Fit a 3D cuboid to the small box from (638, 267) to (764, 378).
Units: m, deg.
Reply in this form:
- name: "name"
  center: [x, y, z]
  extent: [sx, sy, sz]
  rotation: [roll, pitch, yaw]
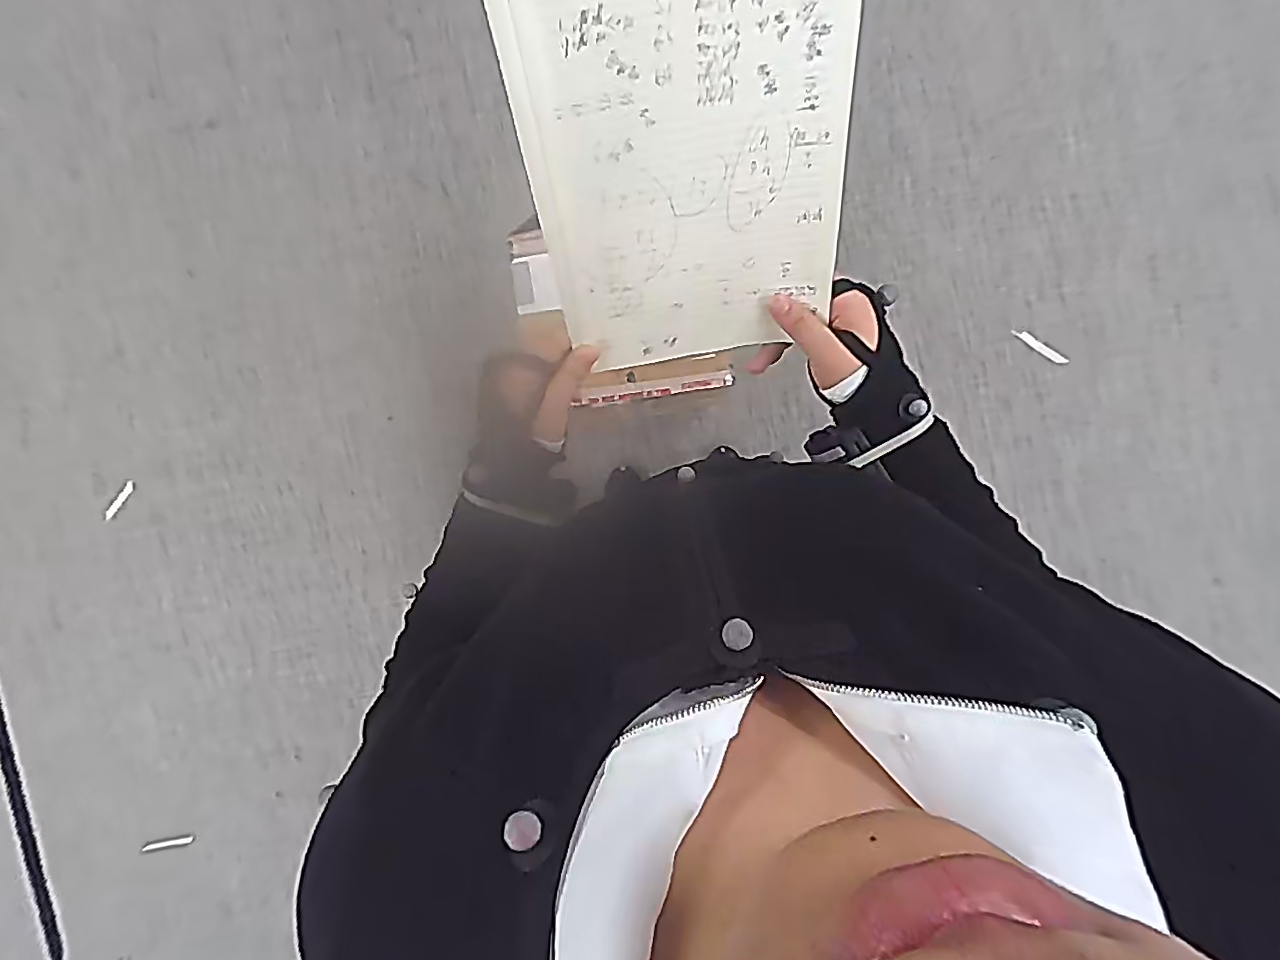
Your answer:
- name: "small box"
  center: [0.096, -0.283, 0.940]
  extent: [0.179, 0.176, 0.168]
  rotation: [-14, 92, 1]

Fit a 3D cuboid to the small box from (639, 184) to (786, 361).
- name: "small box"
  center: [0.092, -0.284, 0.776]
  extent: [0.168, 0.176, 0.179]
  rotation: [-11, 92, 0]
